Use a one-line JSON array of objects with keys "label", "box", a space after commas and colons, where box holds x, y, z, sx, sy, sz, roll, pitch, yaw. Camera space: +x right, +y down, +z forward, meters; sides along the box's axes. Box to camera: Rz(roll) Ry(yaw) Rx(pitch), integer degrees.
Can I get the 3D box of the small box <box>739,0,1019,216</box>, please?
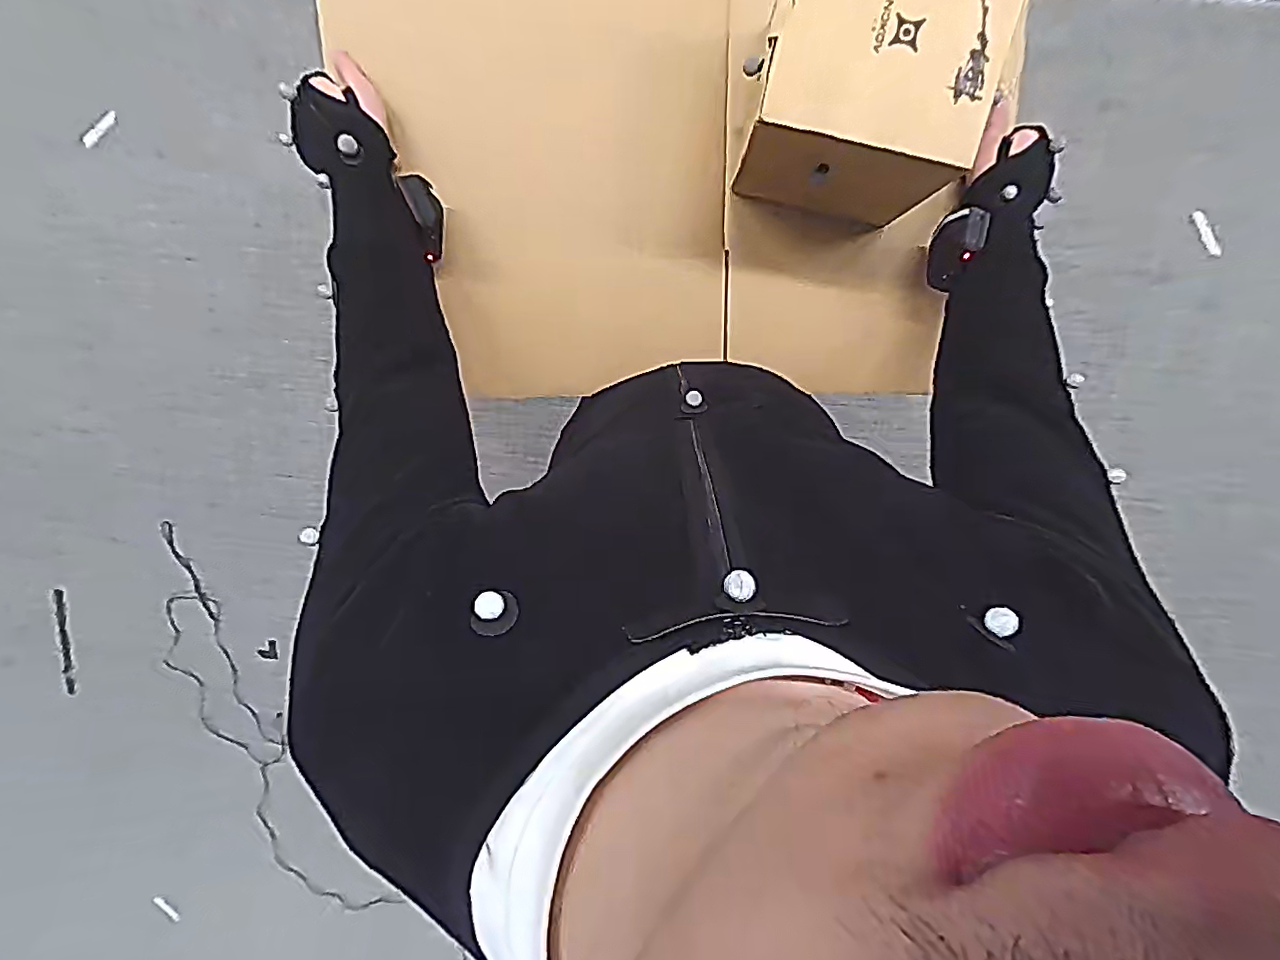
[{"label": "small box", "box": [0.199, -0.363, 0.493, 0.179, 0.176, 0.168, 13, 101, 1]}]
